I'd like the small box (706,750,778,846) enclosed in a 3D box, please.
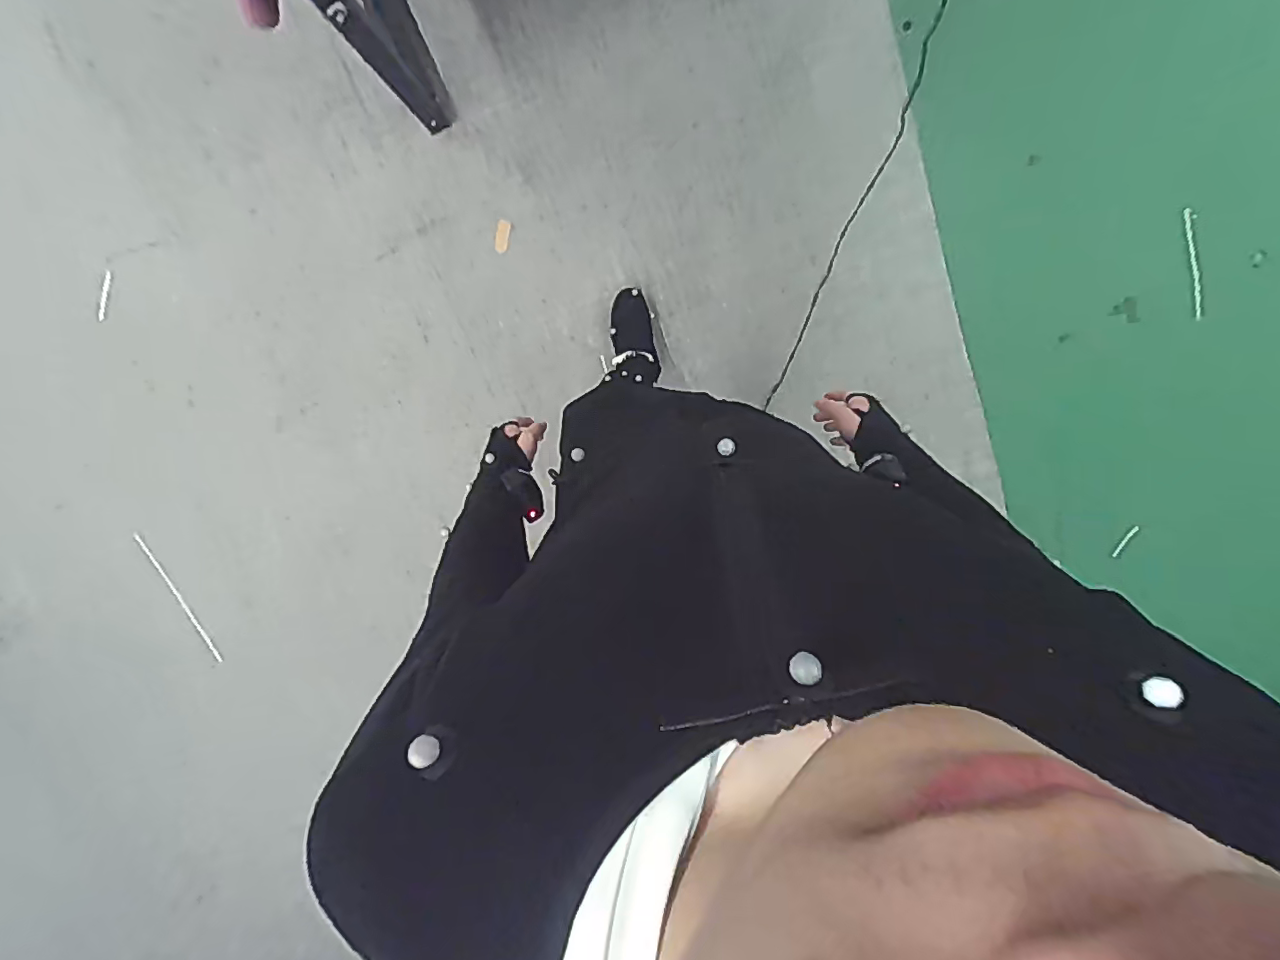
[{"bbox_3d":[0.297,0.938,1.607,0.179,0.176,0.168,-11,104,2],"label":"small box"}]

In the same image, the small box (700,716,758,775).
[{"bbox_3d":[0.298,0.907,1.769,0.179,0.176,0.168,-15,103,3],"label":"small box"}]
